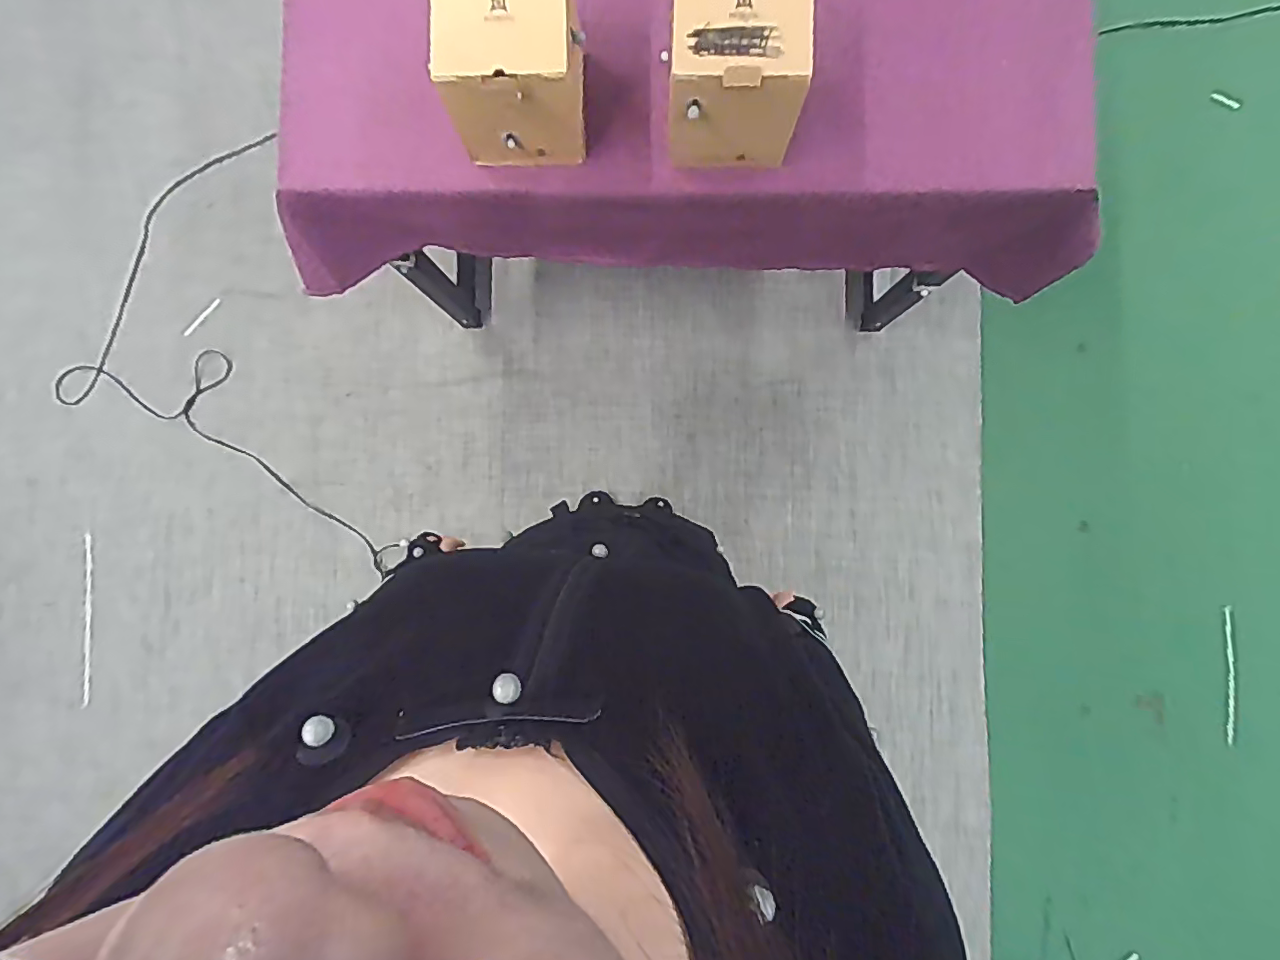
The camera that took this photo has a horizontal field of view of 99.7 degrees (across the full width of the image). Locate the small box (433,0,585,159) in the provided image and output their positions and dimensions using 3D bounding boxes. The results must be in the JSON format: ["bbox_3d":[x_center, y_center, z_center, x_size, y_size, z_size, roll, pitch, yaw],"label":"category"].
[{"bbox_3d":[-0.167,-0.573,0.733,0.168,0.176,0.179,-1,89,1],"label":"small box"}]
